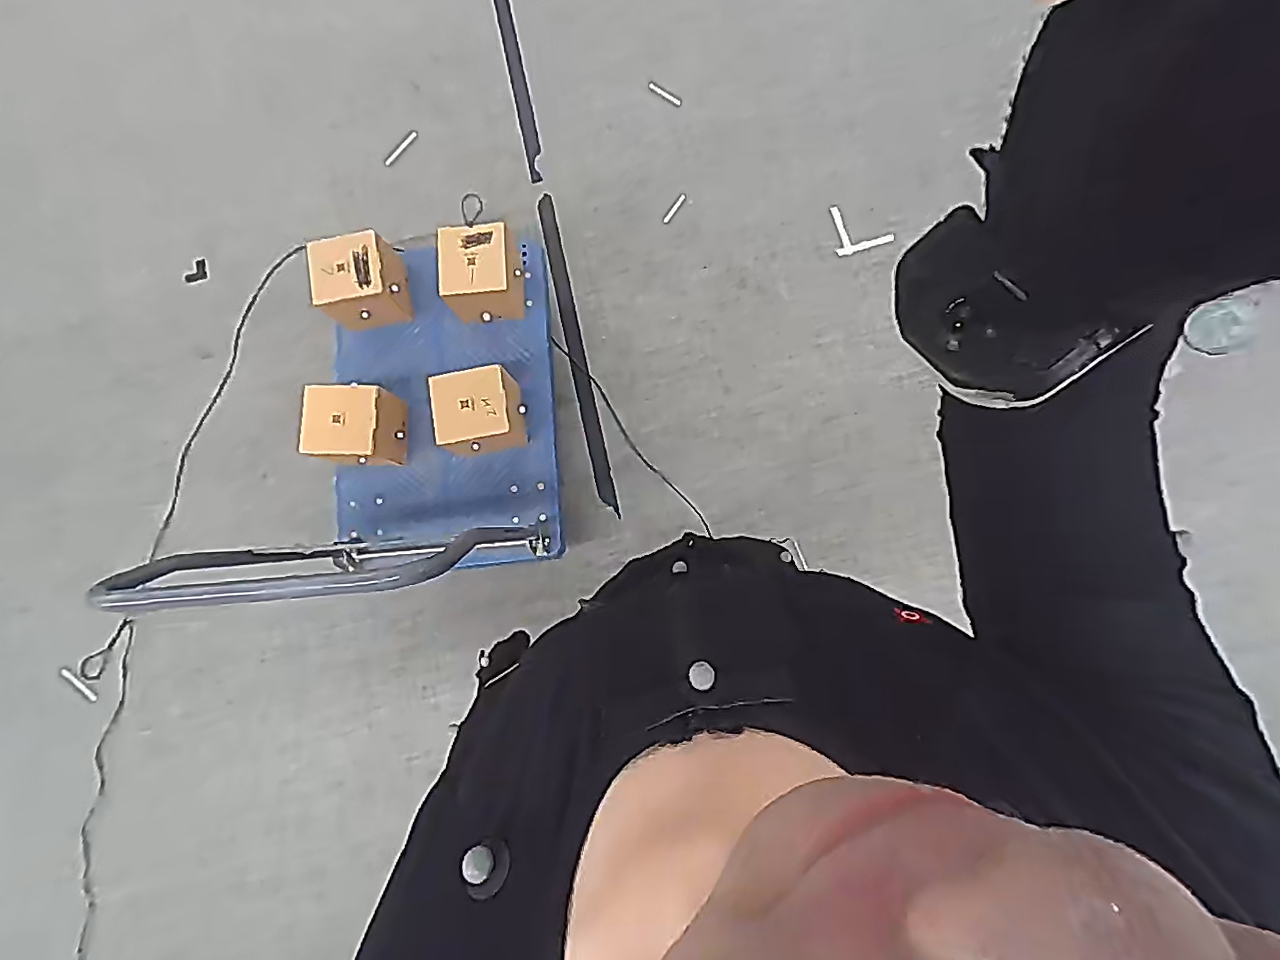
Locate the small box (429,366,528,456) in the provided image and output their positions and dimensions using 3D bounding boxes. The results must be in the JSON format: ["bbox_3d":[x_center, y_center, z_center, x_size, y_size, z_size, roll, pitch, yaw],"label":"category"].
[{"bbox_3d":[-0.389,-0.161,1.323,0.179,0.176,0.168,-10,82,1],"label":"small box"}]

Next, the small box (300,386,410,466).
[{"bbox_3d":[-0.695,-0.127,1.333,0.179,0.176,0.168,0,82,1],"label":"small box"}]

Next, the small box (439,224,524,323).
[{"bbox_3d":[-0.396,-0.517,1.369,0.168,0.176,0.179,-4,84,2],"label":"small box"}]
